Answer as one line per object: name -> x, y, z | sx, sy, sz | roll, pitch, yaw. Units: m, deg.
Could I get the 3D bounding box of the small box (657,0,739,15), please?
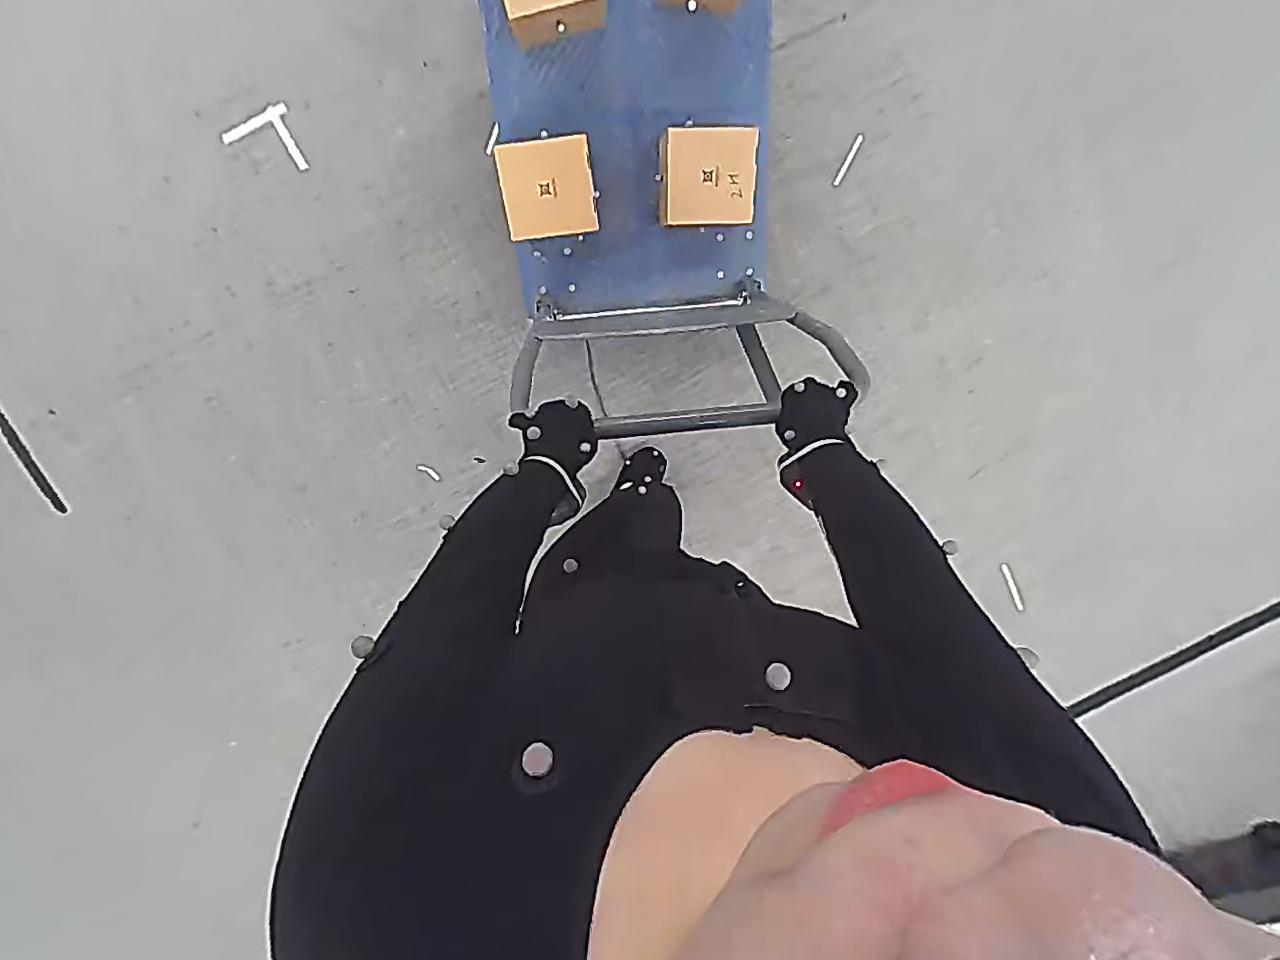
small box -> 0.115, -0.973, 0.956 | 0.168, 0.176, 0.179 | 4, 115, -6

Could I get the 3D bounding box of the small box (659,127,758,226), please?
small box -> 0.131, -0.617, 1.116 | 0.179, 0.176, 0.168 | -2, 115, -3

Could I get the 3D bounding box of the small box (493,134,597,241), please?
small box -> -0.185, -0.588, 1.105 | 0.179, 0.176, 0.168 | -9, 115, -2
